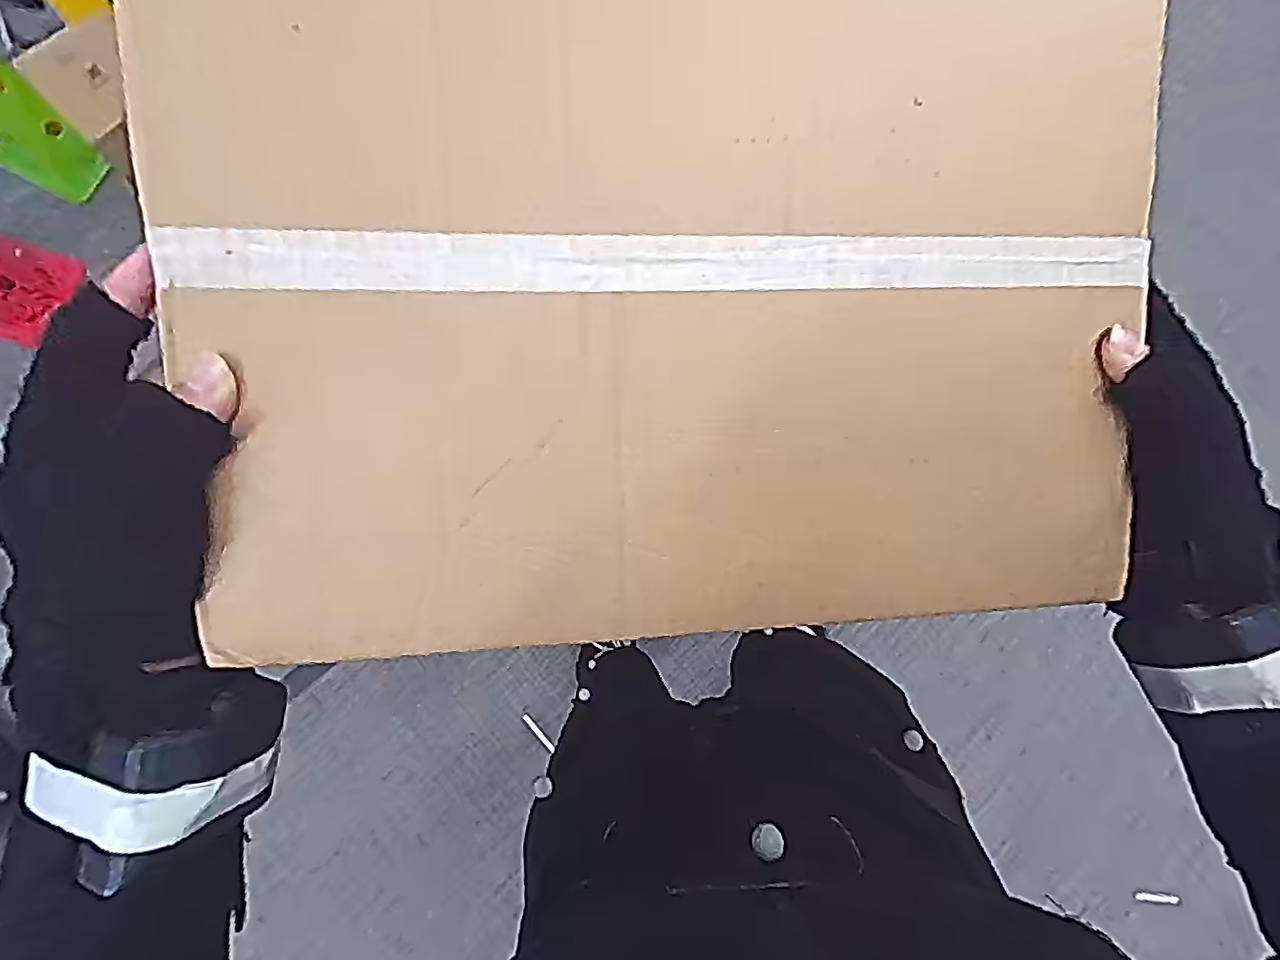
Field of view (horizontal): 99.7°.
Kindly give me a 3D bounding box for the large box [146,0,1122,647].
[{"bbox_3d":[0.003,-0.111,0.379,0.408,0.320,0.320,-3,97,-7],"label":"large box"}]
